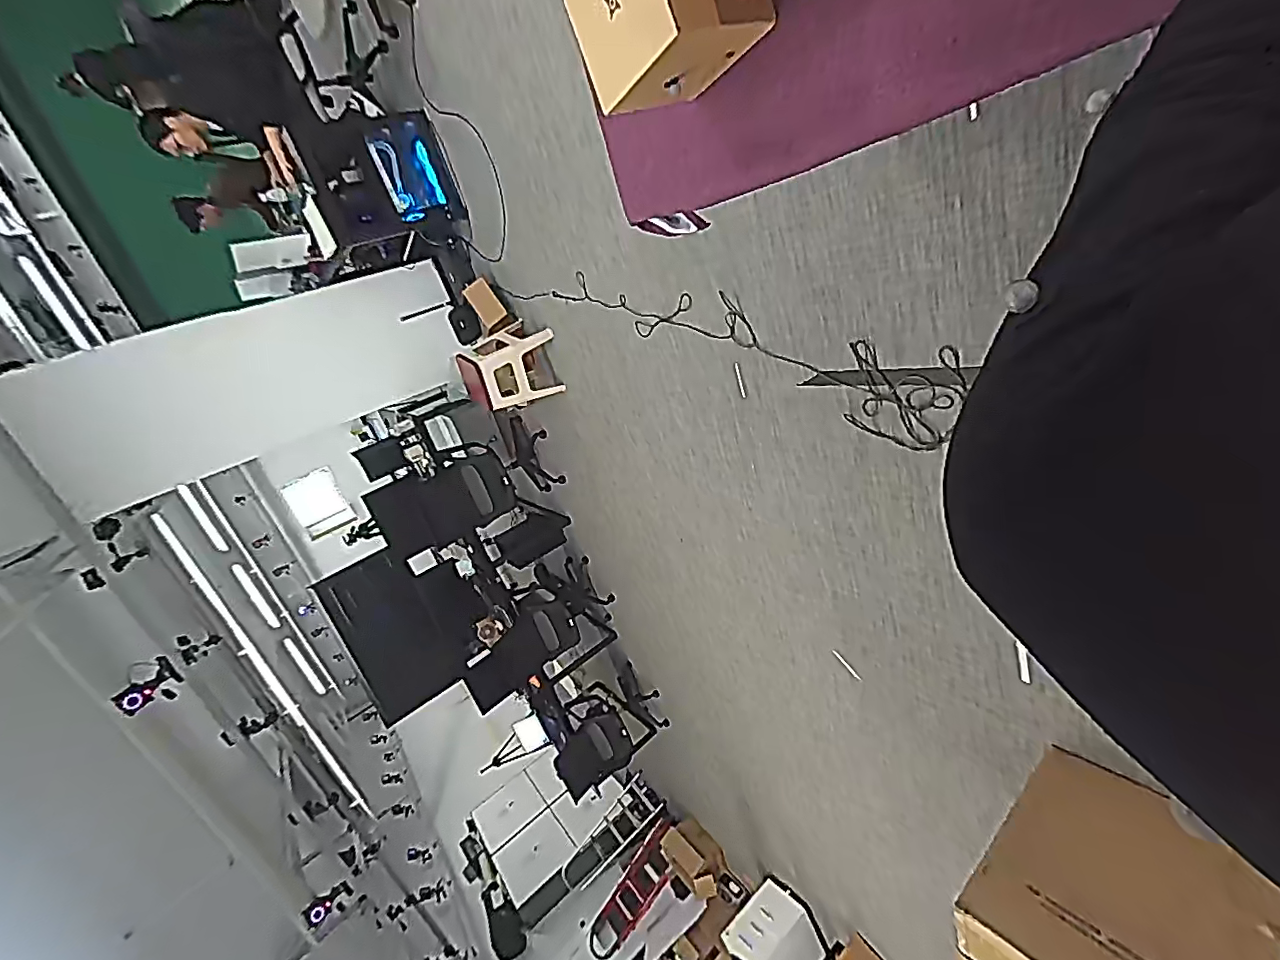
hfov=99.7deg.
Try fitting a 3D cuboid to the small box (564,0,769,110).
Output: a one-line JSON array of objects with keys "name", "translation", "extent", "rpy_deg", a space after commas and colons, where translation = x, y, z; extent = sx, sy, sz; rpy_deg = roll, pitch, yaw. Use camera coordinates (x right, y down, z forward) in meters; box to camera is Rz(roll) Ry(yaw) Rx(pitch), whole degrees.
[{"name": "small box", "translation": [0.028, -0.593, 0.652], "extent": [0.168, 0.176, 0.179], "rpy_deg": [3, 119, 58]}]
